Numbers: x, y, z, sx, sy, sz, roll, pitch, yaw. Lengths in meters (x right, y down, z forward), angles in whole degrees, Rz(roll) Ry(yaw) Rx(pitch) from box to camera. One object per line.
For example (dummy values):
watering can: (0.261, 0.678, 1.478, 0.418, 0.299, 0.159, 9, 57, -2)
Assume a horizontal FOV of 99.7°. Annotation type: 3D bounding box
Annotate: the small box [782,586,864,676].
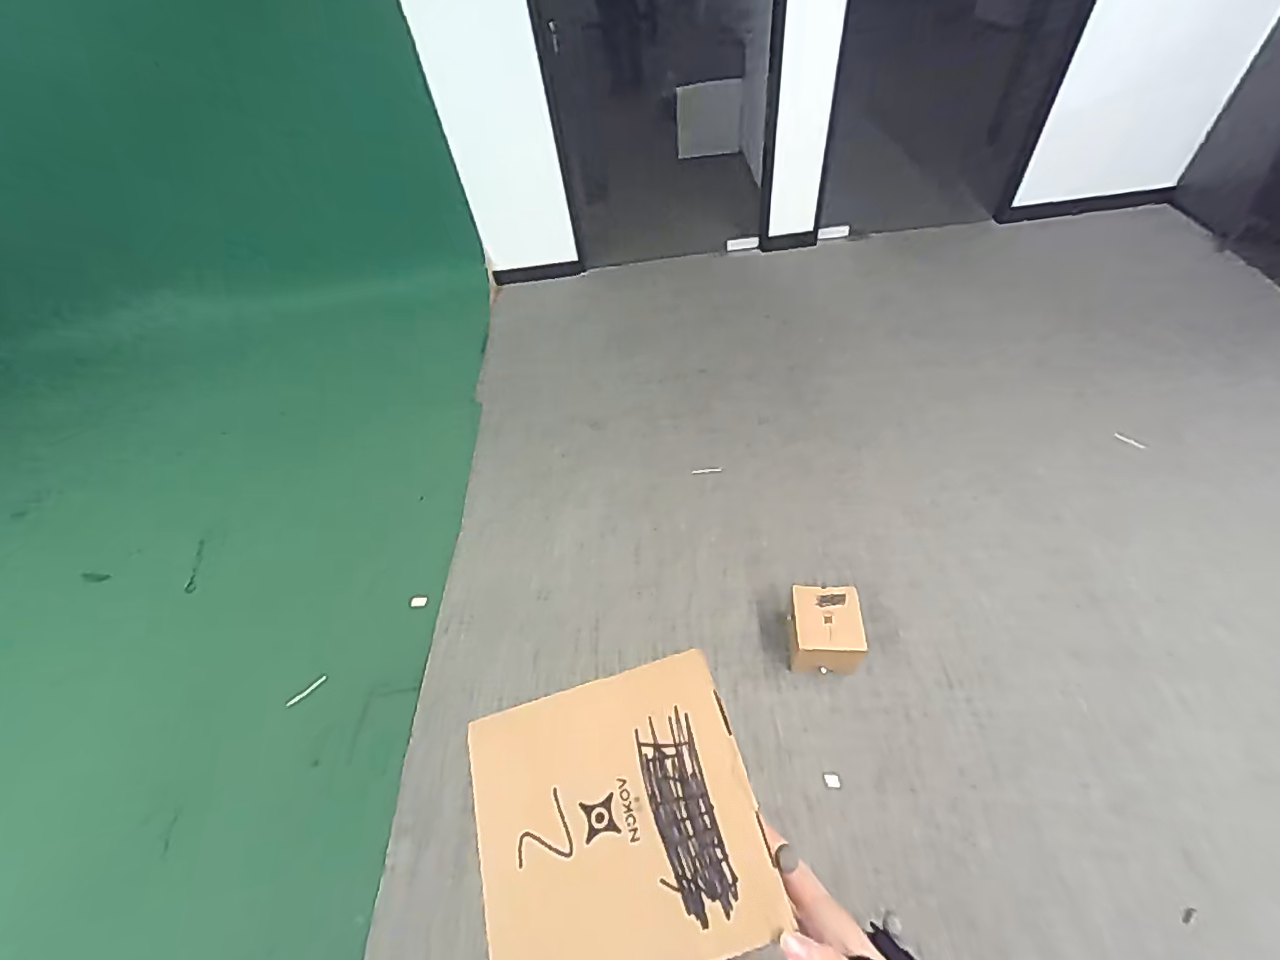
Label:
small box: (0.475, 0.399, 1.429, 0.168, 0.176, 0.179, 0, 52, 7)
